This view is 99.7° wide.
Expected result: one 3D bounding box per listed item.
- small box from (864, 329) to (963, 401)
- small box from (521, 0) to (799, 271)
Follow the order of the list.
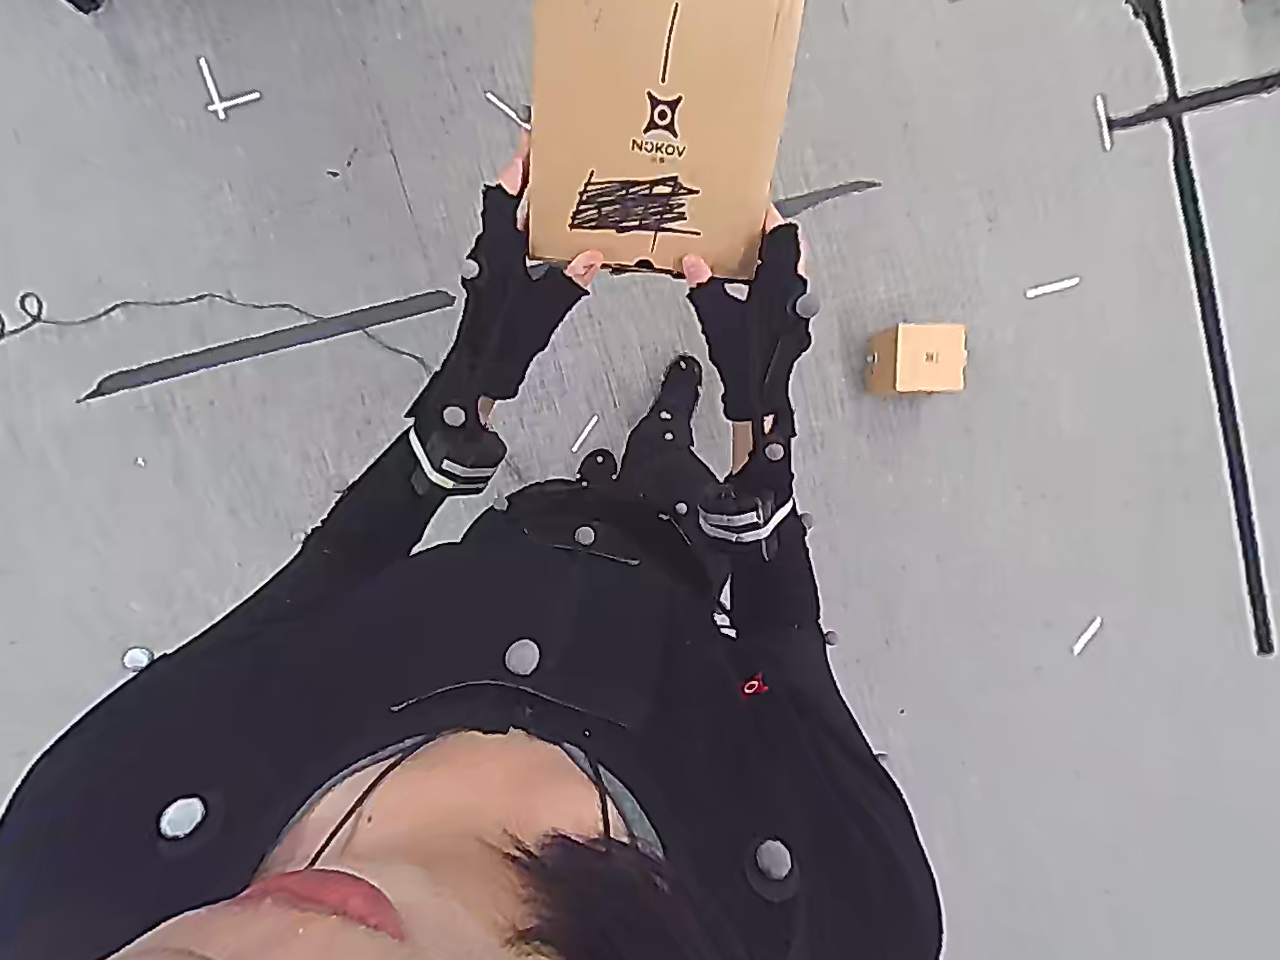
[{"bbox_3d":[0.717,-0.299,1.429,0.179,0.176,0.168,0,94,-1],"label":"small box"},{"bbox_3d":[0.001,-0.270,0.424,0.168,0.176,0.179,3,113,-9],"label":"small box"}]
